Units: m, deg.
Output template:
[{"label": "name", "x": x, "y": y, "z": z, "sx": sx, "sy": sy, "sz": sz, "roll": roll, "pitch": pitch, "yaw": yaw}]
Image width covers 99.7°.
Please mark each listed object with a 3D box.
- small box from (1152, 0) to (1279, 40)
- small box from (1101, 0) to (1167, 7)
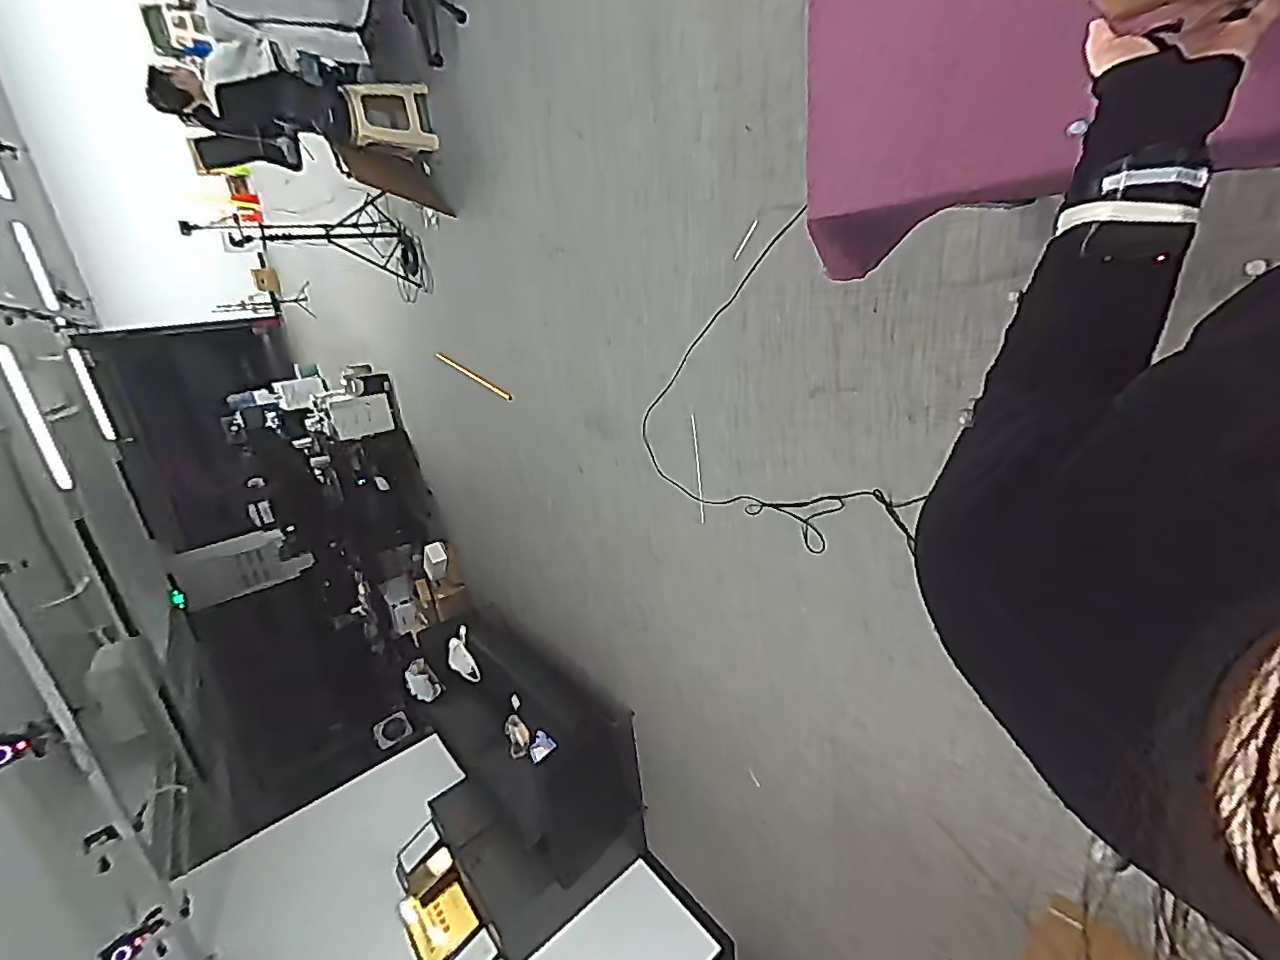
[{"label": "small box", "x": 0.478, "y": -0.457, "z": 0.378, "sx": 0.168, "sy": 0.176, "sz": 0.179, "roll": 15, "pitch": 118, "yaw": 50}, {"label": "small box", "x": 0.350, "y": -0.399, "z": 0.290, "sx": 0.168, "sy": 0.176, "sz": 0.179, "roll": 14, "pitch": 118, "yaw": 49}]
